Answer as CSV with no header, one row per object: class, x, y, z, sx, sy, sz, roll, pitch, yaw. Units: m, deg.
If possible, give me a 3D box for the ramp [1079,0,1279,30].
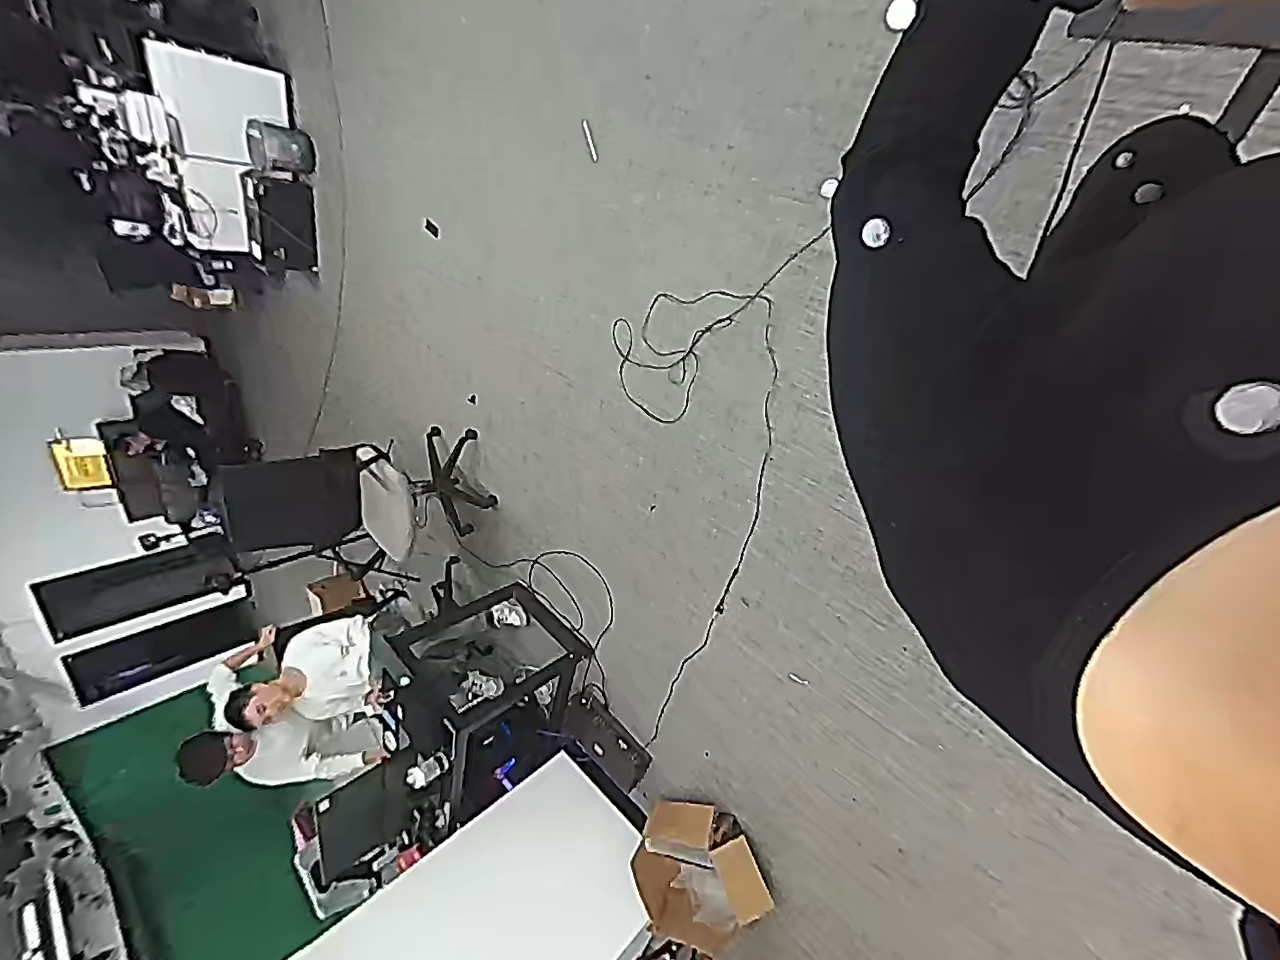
ramp,1.057,-1.156,0.609,0.509,0.206,0.991,31,124,30
